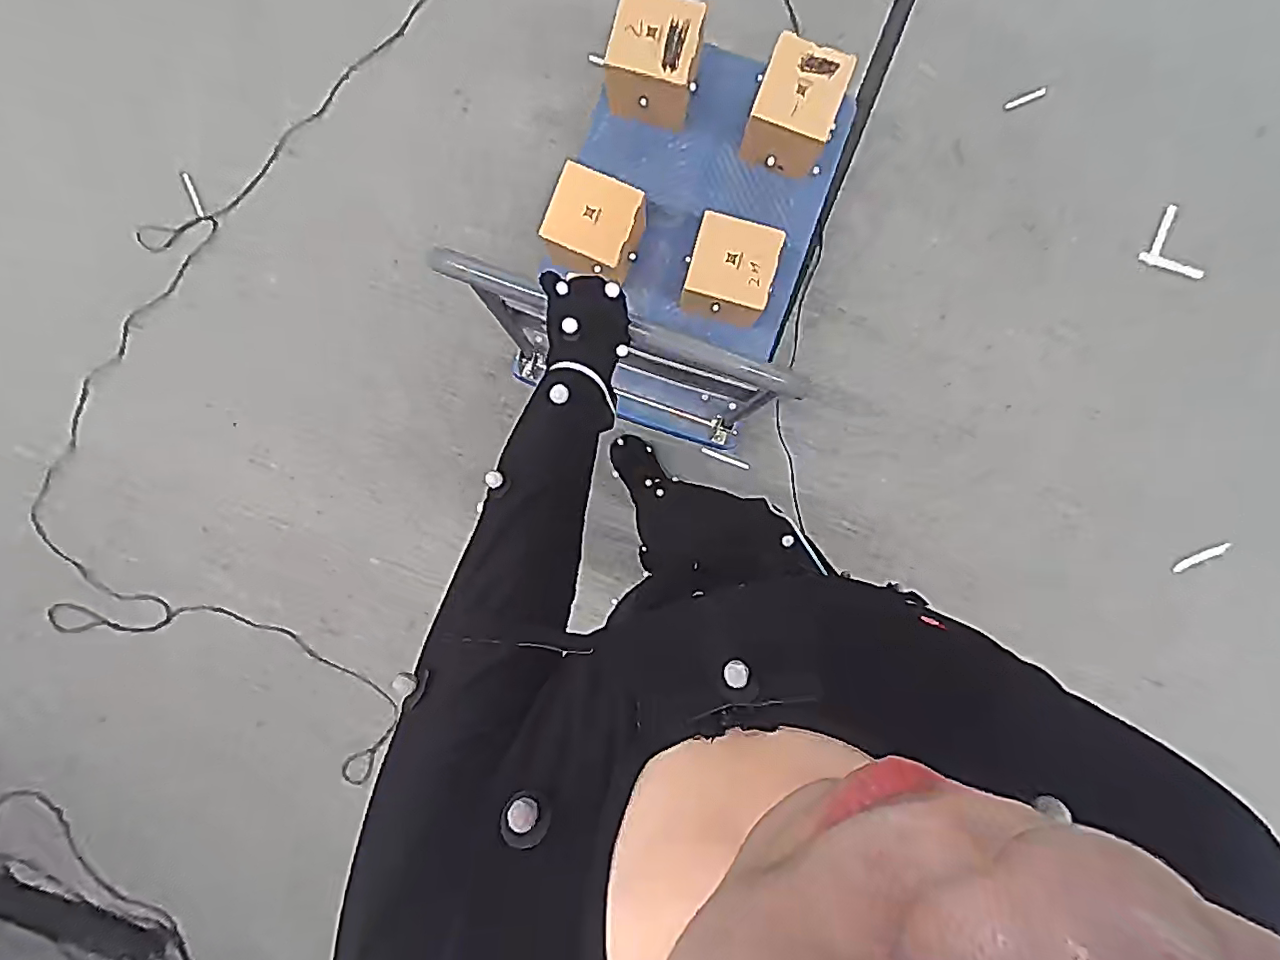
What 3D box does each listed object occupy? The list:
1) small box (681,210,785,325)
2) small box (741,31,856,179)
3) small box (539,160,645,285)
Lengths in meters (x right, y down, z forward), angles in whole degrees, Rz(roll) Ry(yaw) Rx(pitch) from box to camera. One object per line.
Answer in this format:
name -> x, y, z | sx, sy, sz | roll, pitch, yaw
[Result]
small box -> 0.194, -0.457, 1.190 | 0.179, 0.176, 0.168 | 16, 94, 0
small box -> 0.330, -0.797, 1.167 | 0.168, 0.176, 0.179 | 21, 95, 0
small box -> -0.100, -0.554, 1.189 | 0.179, 0.176, 0.168 | 22, 93, -2
